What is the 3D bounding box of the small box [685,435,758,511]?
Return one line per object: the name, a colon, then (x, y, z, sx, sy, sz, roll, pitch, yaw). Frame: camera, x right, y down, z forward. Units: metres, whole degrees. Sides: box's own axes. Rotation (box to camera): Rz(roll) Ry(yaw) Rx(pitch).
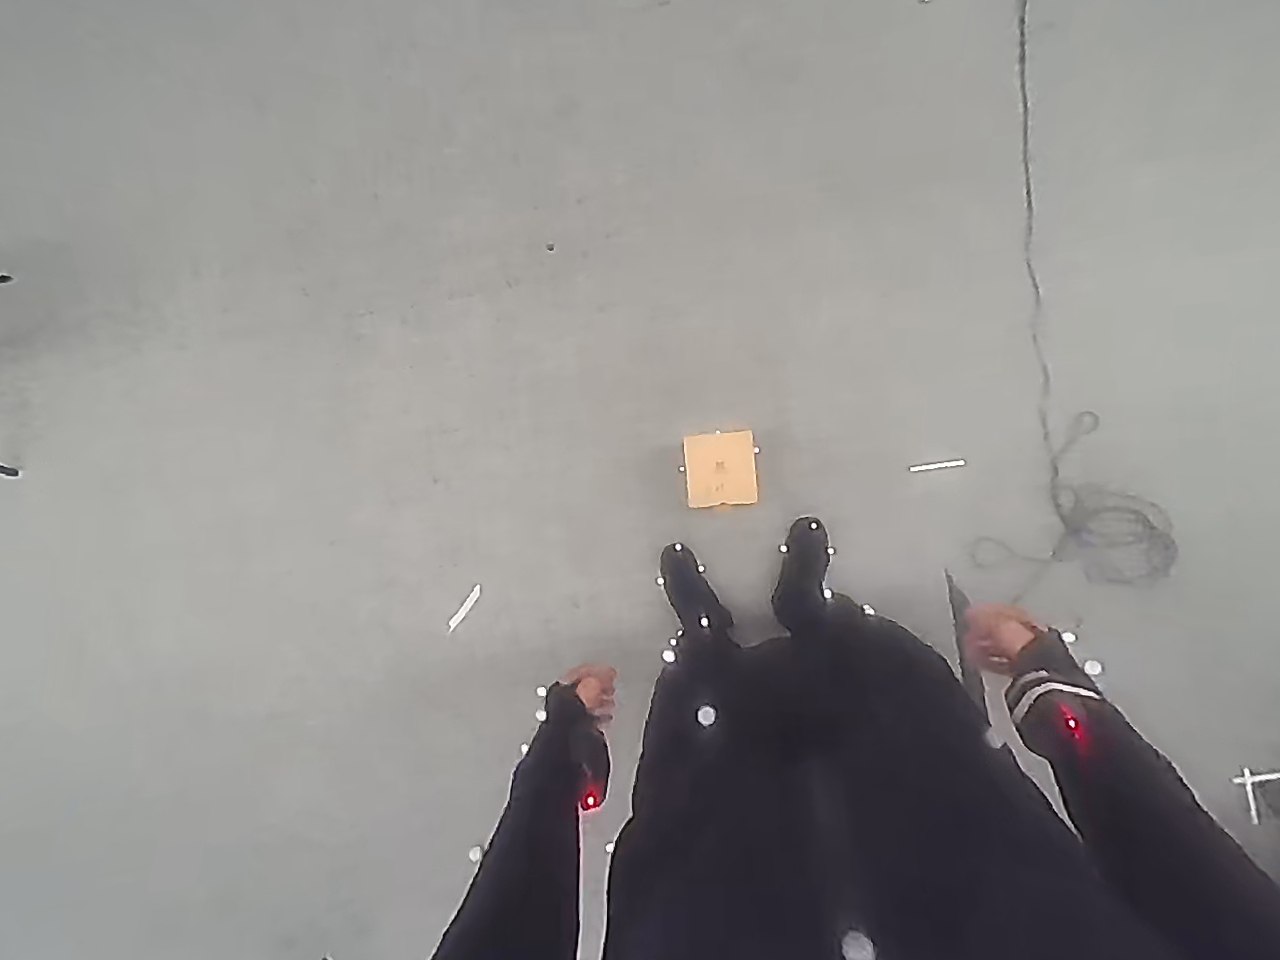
small box: (0.201, -0.013, 1.367, 0.168, 0.176, 0.179, -5, 88, 6)
